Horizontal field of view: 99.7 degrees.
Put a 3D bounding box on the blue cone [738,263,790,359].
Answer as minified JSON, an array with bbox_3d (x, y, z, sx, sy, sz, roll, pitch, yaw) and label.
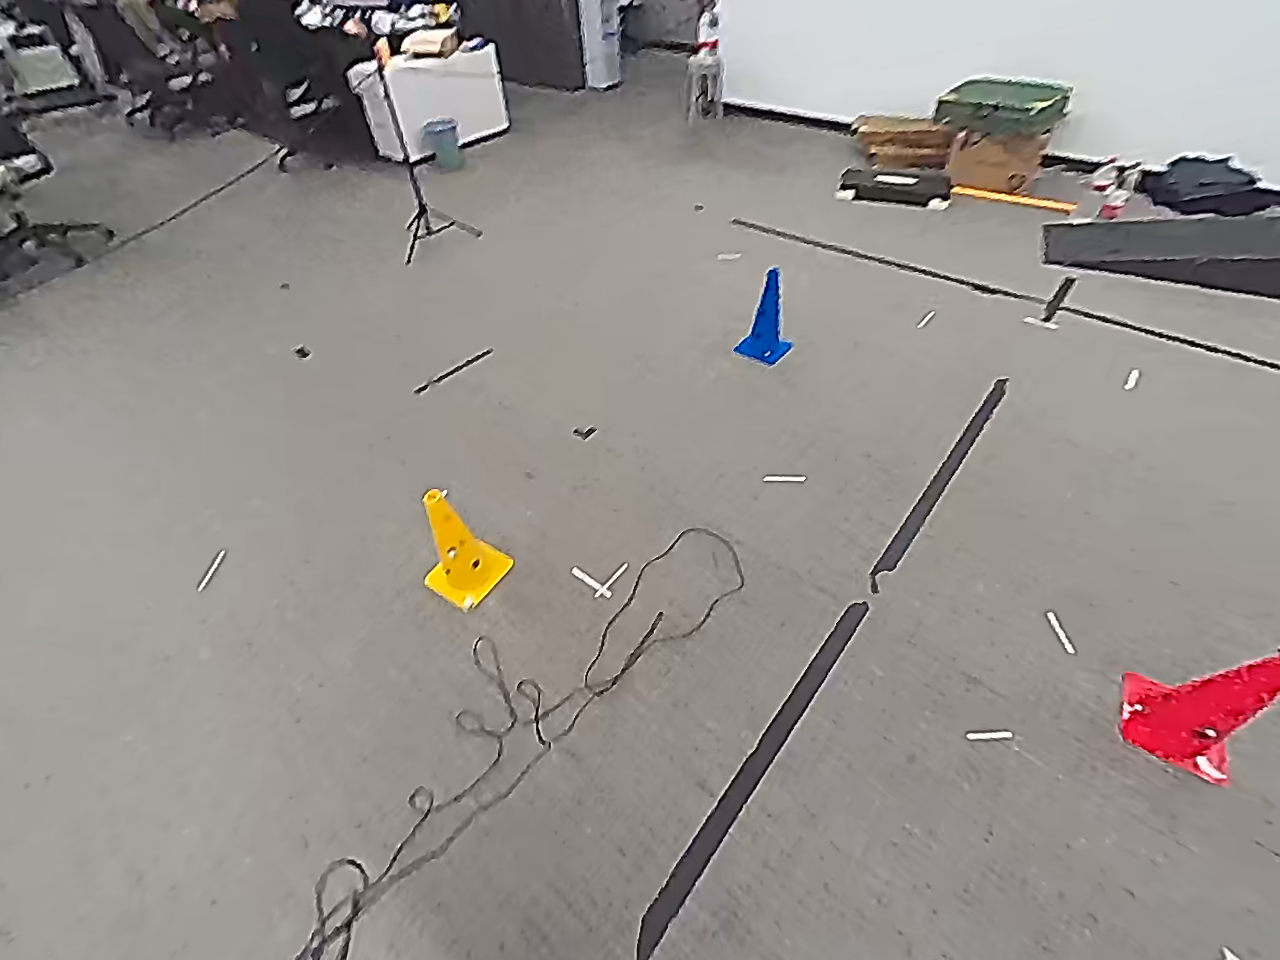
[{"bbox_3d":[0.534,-0.705,2.237,0.192,0.380,0.193,31,56,29],"label":"blue cone"}]

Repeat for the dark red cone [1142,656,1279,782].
[{"bbox_3d":[1.254,0.440,1.110,0.201,0.394,0.202,23,53,24],"label":"dark red cone"}]
